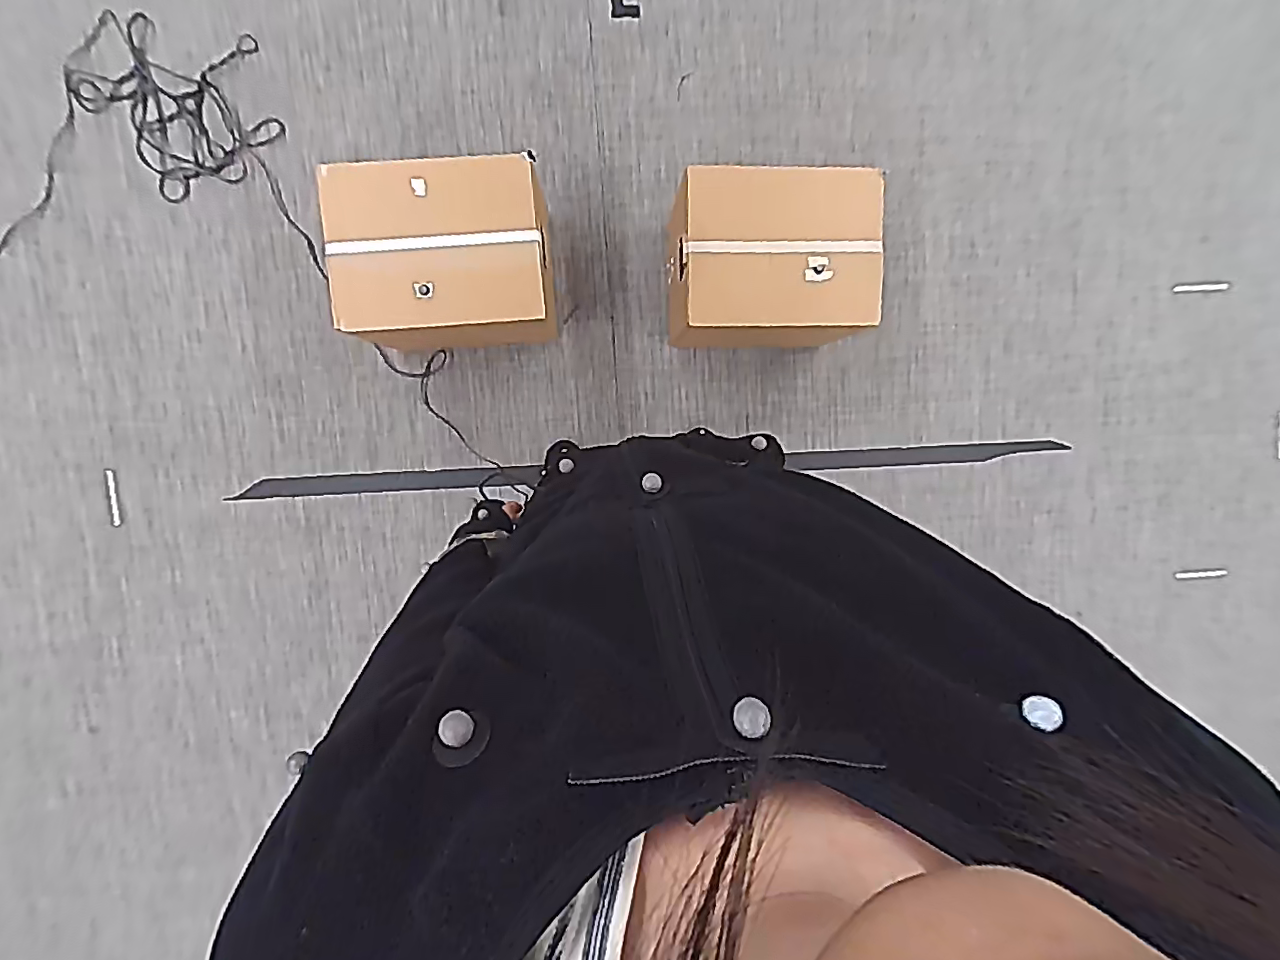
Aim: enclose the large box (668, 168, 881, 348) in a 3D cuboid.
[{"bbox_3d":[0.284,-0.488,1.250,0.408,0.320,0.320,-1,96,-5],"label":"large box"}]
